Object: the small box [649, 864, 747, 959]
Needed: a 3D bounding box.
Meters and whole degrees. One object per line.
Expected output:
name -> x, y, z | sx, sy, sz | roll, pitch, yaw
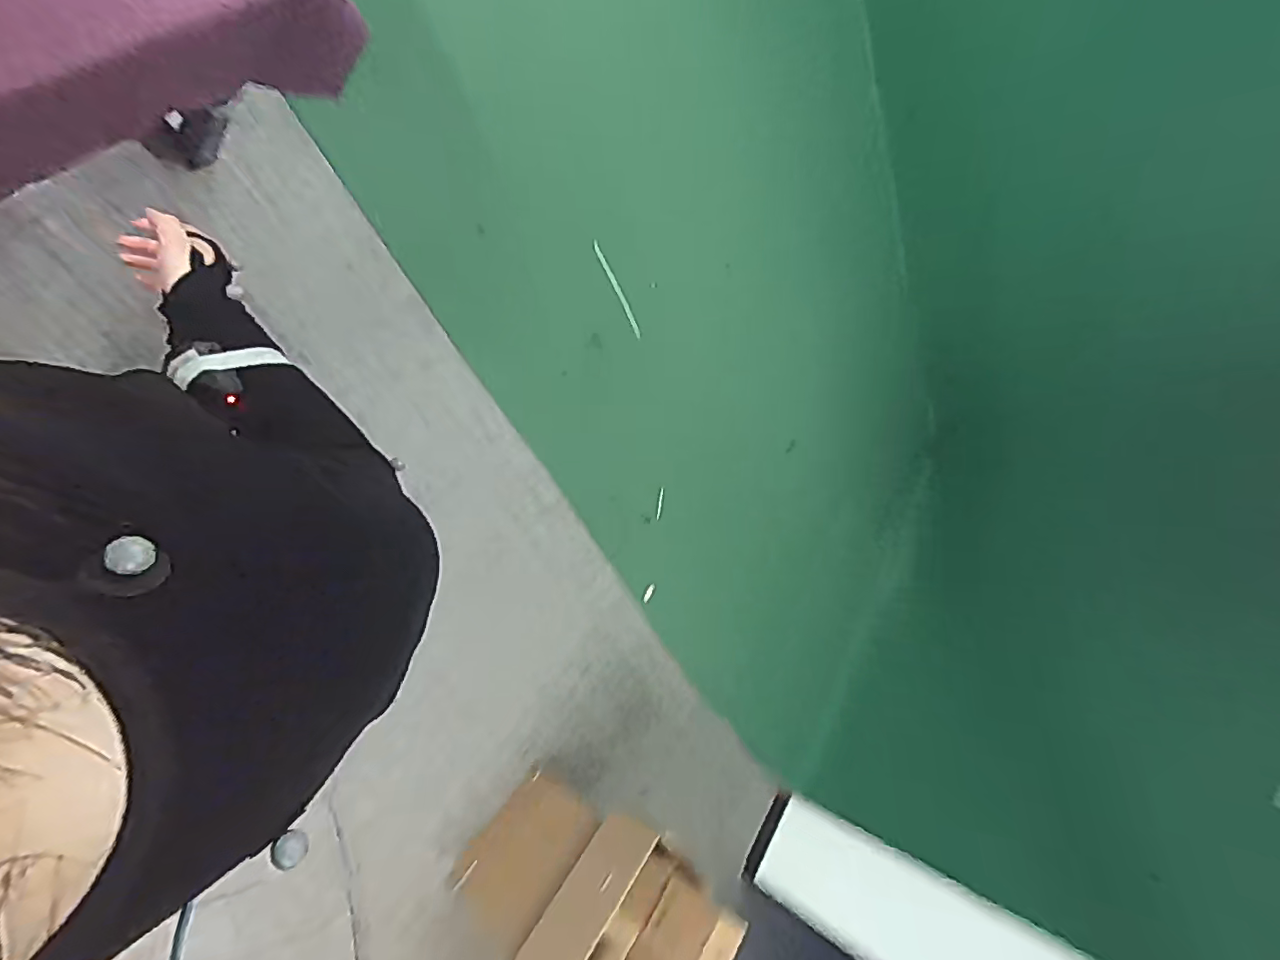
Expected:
small box -> 0.154, 1.177, 1.449 | 0.168, 0.176, 0.179 | -51, 128, -25
